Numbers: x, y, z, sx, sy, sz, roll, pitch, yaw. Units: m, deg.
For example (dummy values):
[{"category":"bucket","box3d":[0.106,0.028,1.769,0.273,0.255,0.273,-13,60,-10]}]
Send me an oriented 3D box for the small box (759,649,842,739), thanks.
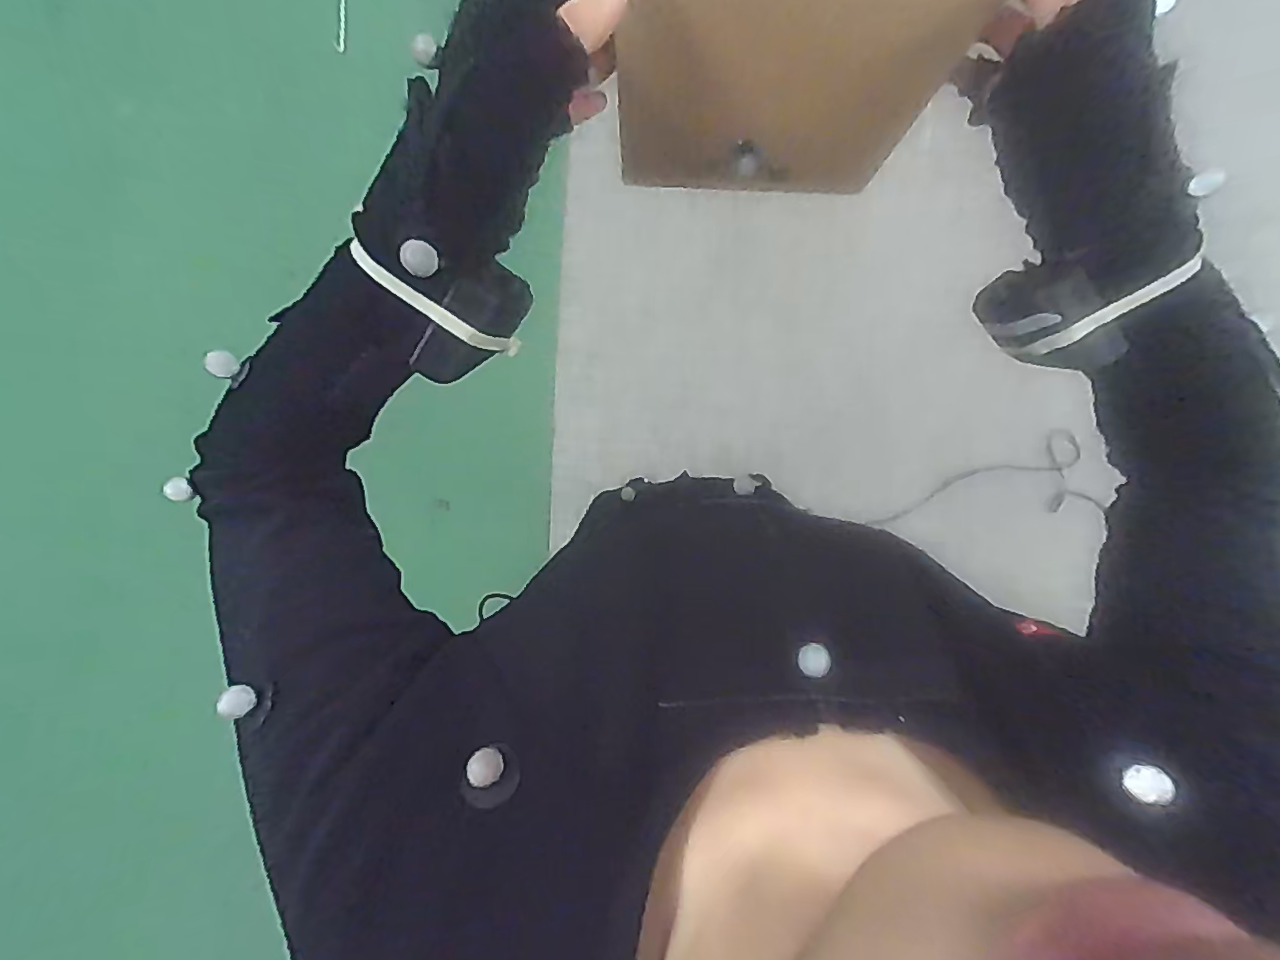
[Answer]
[{"category":"small box","box3d":[0.405,0.541,1.390,0.168,0.176,0.179,-3,88,2]}]
